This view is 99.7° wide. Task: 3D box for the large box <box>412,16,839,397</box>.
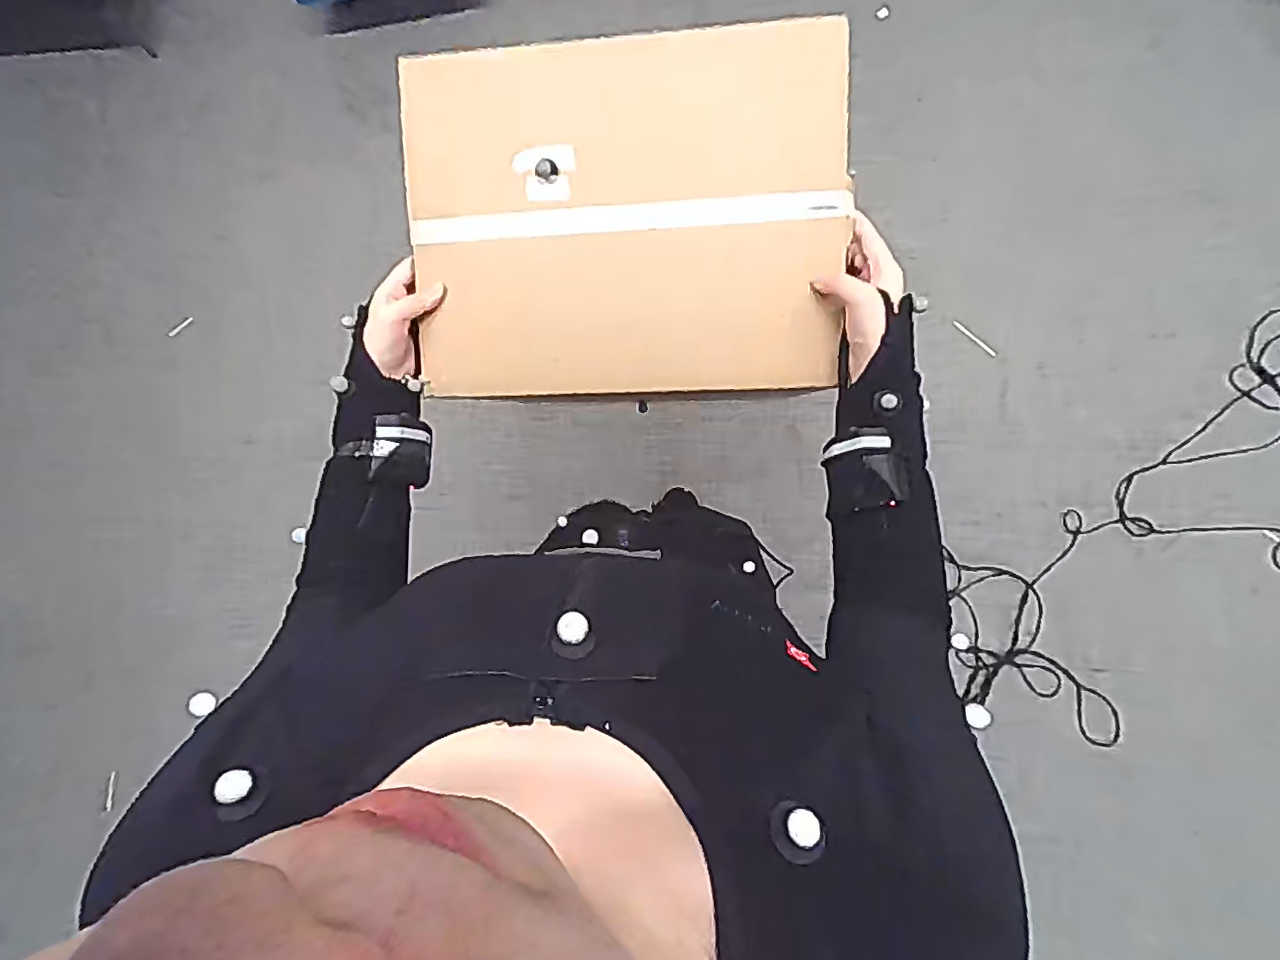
[{"bbox_3d":[0.003,-0.265,0.658,0.408,0.320,0.320,-1,97,8],"label":"large box"}]
